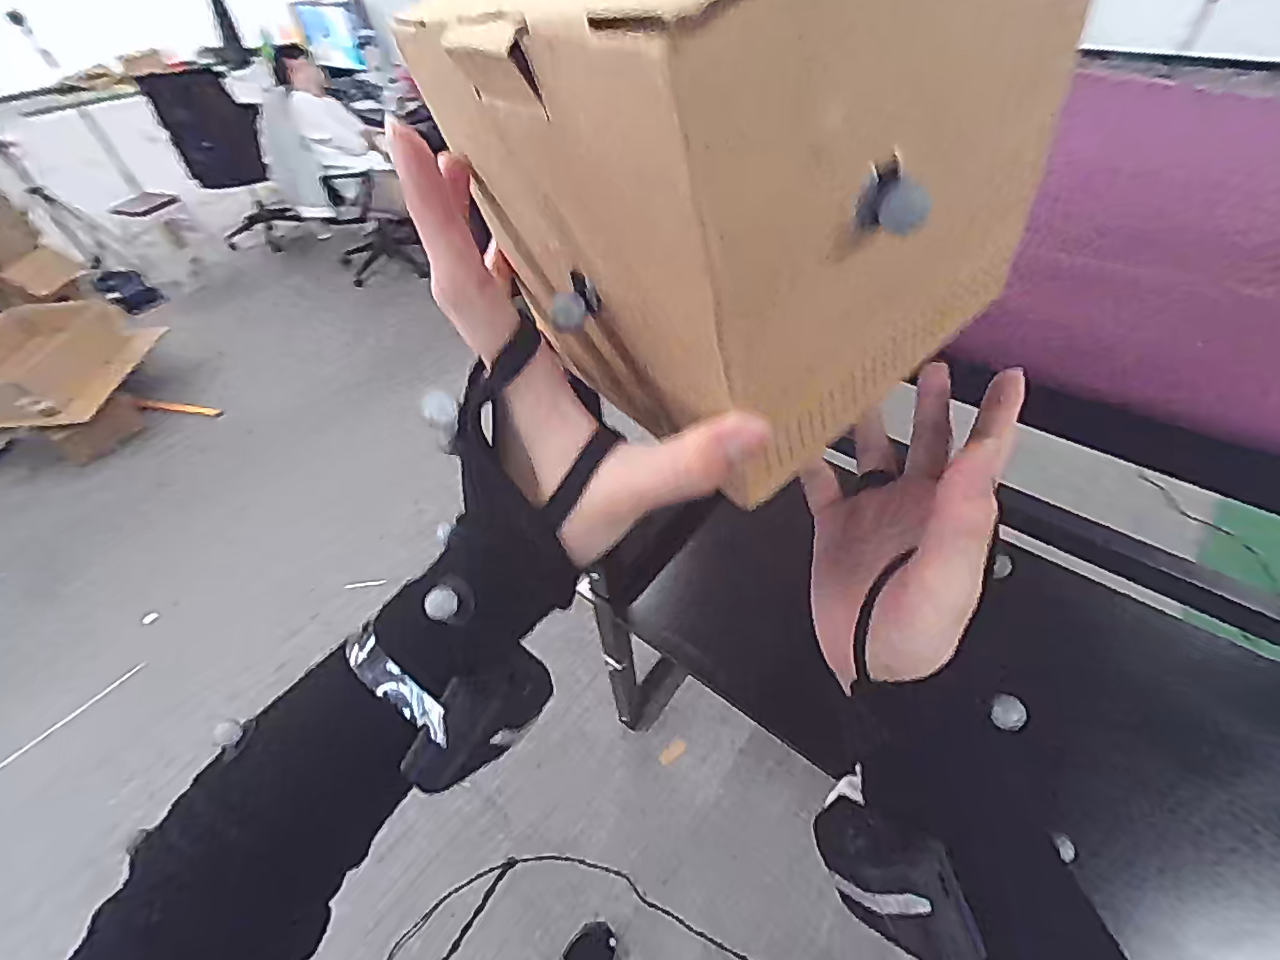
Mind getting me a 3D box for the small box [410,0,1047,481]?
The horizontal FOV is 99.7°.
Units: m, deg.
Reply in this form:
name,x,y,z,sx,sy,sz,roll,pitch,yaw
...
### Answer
name,x,y,z,sx,sy,sz,roll,pitch,yaw
small box,0.043,-0.132,0.241,0.179,0.176,0.168,-40,53,-13
